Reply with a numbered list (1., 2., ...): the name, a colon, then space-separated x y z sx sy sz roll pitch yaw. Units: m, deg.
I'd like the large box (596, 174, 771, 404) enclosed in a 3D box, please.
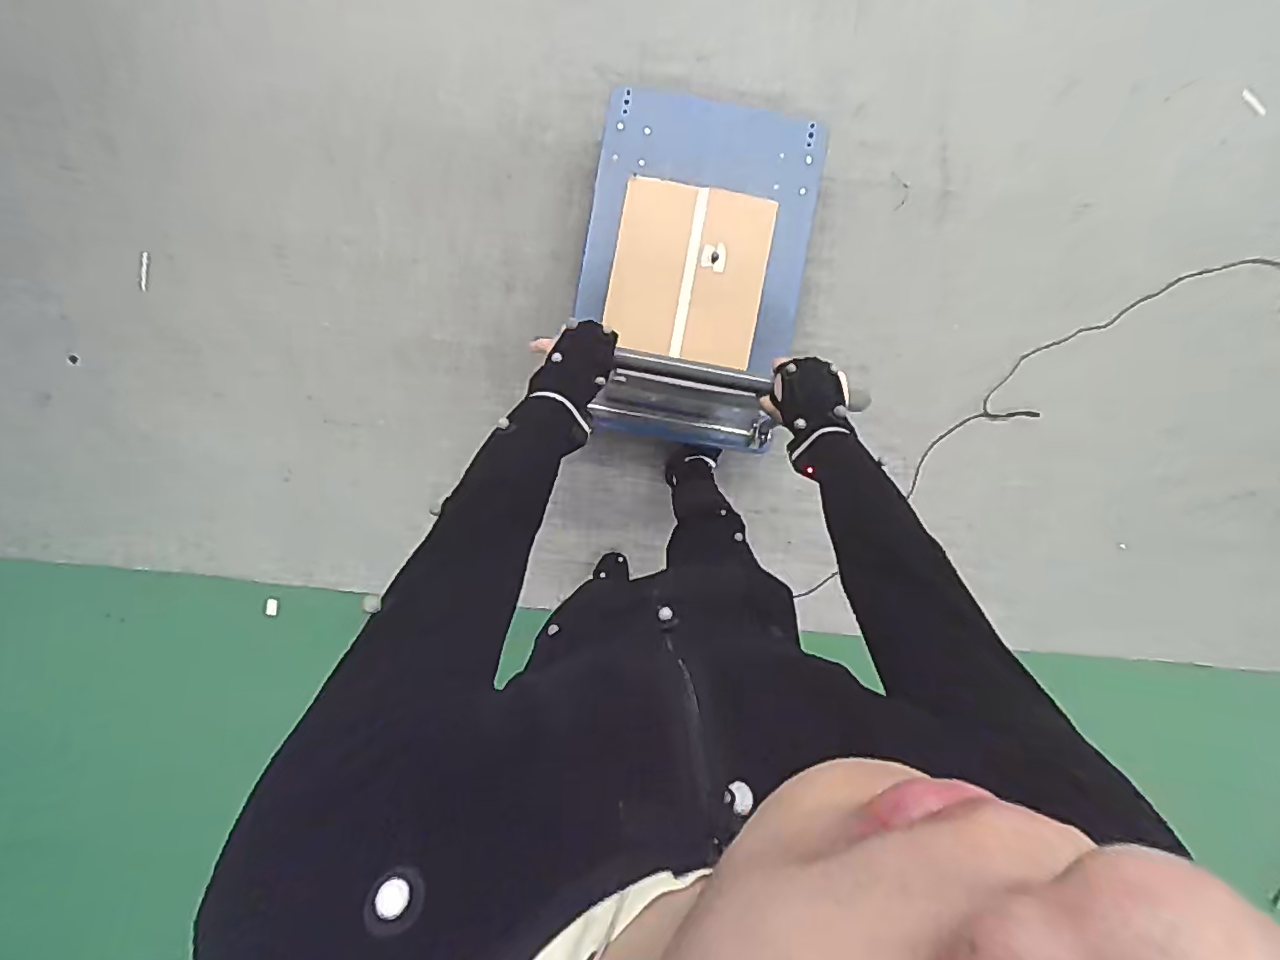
1. large box: 0.089 -0.413 1.265 0.320 0.320 0.408 10 91 -1
